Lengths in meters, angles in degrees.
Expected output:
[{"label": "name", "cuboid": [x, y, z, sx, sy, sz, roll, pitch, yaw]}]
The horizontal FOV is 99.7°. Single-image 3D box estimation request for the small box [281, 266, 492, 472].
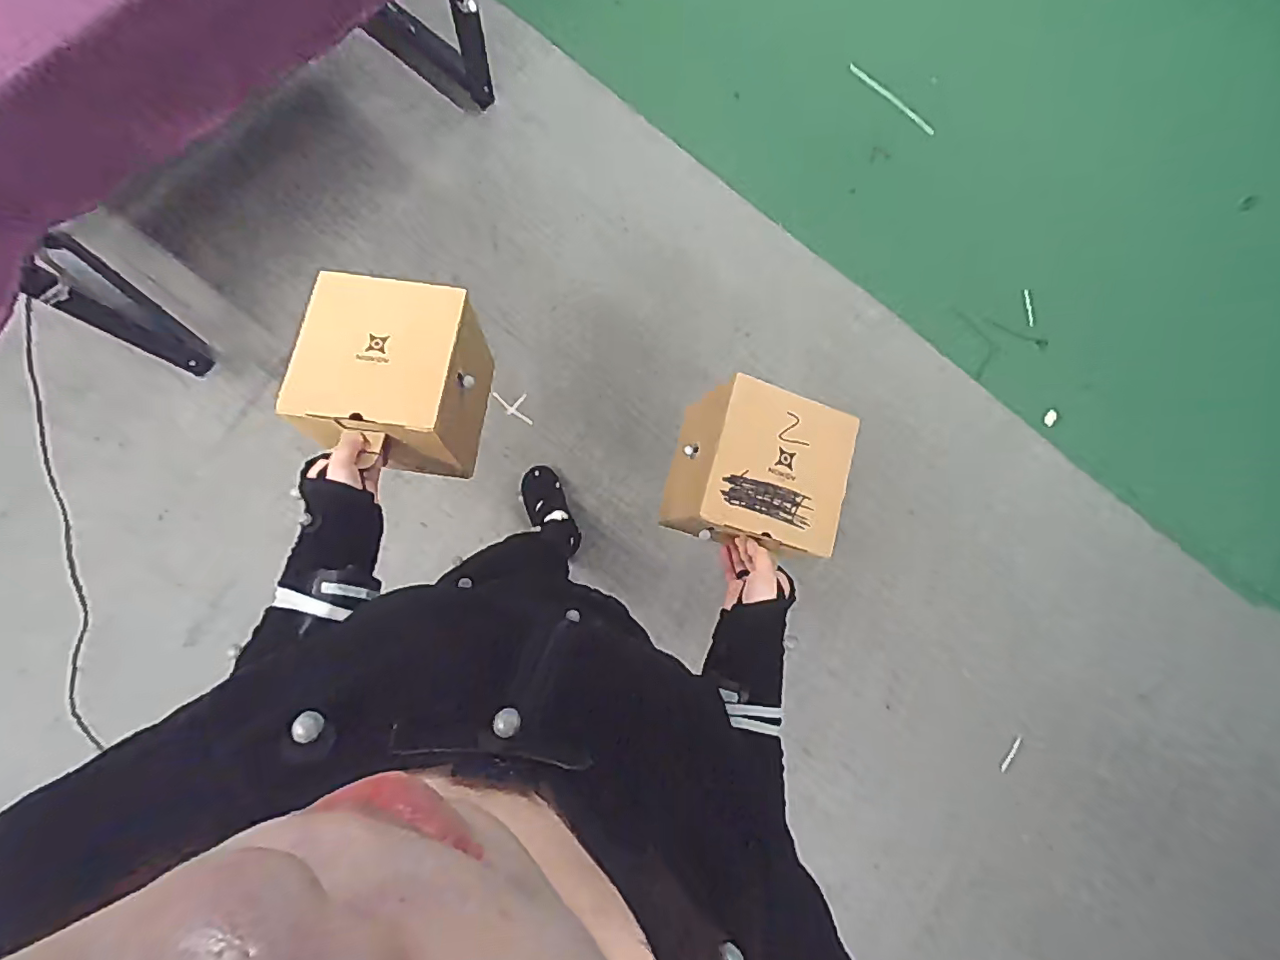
[{"label": "small box", "cuboid": [-0.286, -0.124, 0.658, 0.168, 0.176, 0.179, 7, 74, -3]}]
